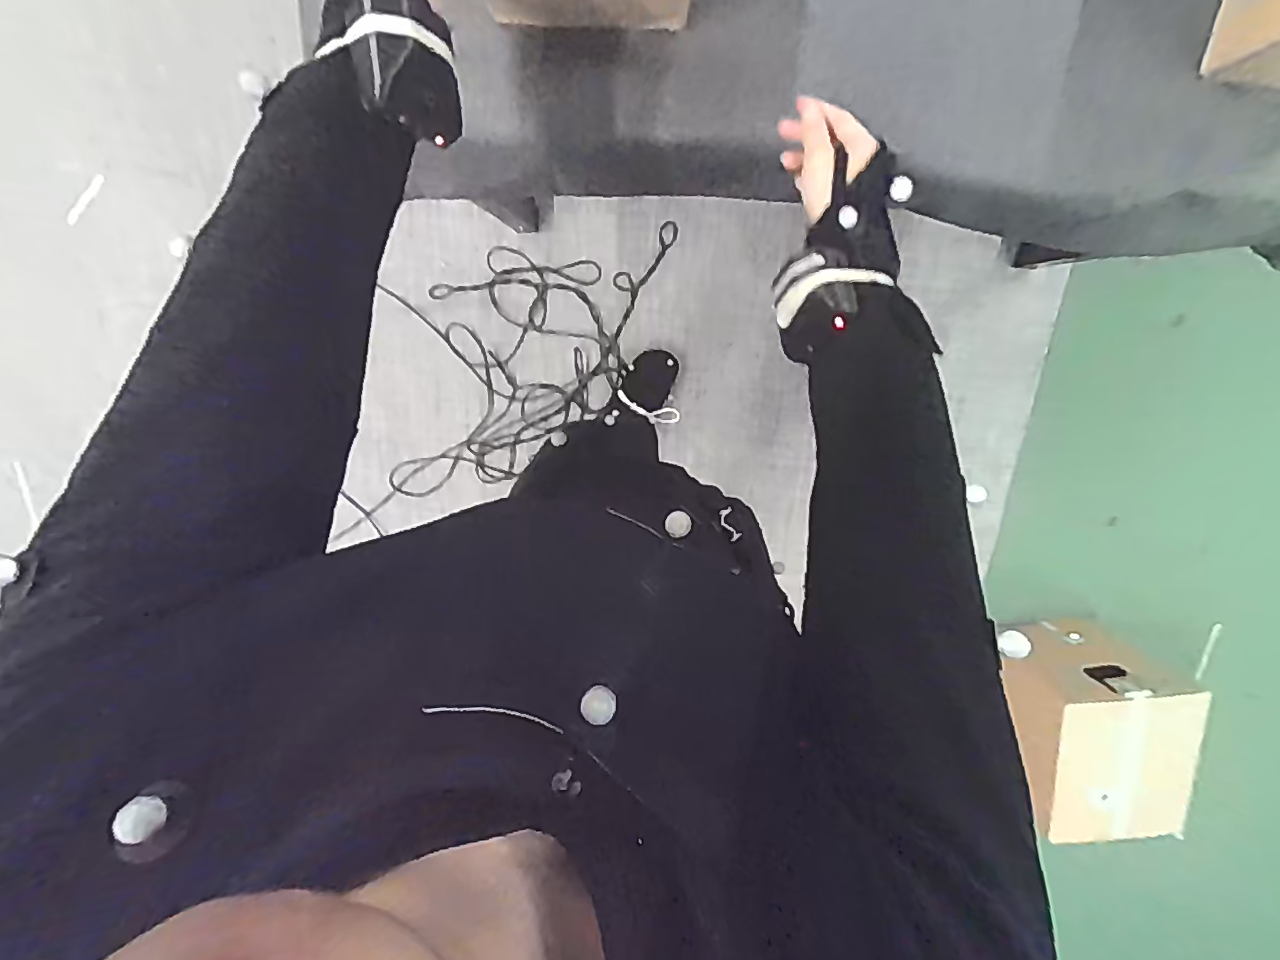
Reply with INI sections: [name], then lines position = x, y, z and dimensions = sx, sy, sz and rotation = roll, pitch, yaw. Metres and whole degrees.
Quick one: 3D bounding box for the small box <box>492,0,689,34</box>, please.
[small box]
position = -0.041, -0.464, 0.394
dimensions = 0.179, 0.176, 0.168
rotation = 2, 107, -1
